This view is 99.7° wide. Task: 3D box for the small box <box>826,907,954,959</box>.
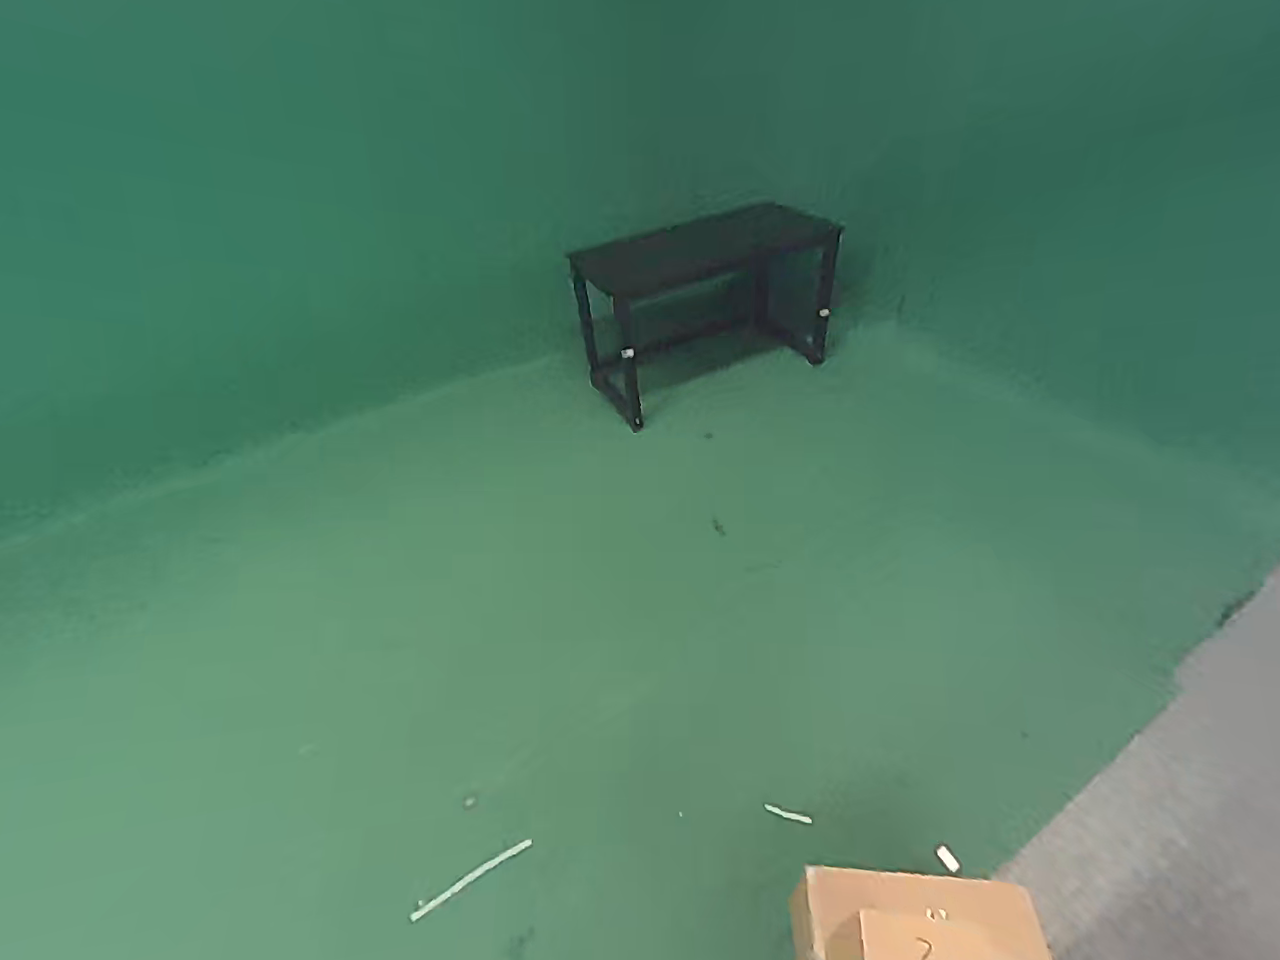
[{"bbox_3d":[0.401,0.820,0.863,0.168,0.176,0.179,3,43,9],"label":"small box"}]
